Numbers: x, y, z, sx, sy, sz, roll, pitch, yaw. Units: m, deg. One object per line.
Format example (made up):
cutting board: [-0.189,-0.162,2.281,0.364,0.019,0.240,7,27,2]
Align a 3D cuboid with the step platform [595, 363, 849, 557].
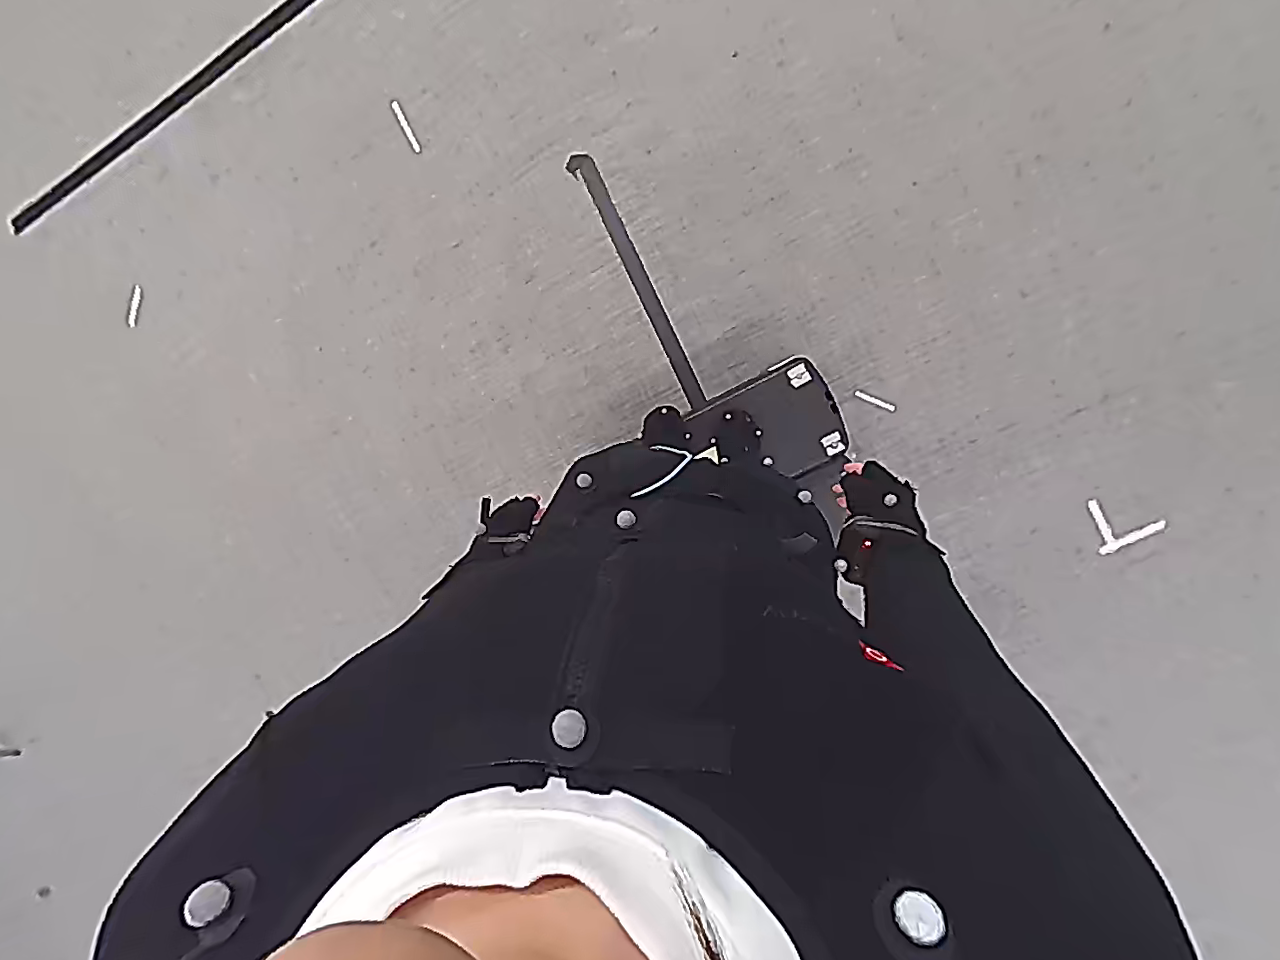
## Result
step platform: [0.216,-0.050,1.511,0.684,0.204,0.286,-27,95,10]
